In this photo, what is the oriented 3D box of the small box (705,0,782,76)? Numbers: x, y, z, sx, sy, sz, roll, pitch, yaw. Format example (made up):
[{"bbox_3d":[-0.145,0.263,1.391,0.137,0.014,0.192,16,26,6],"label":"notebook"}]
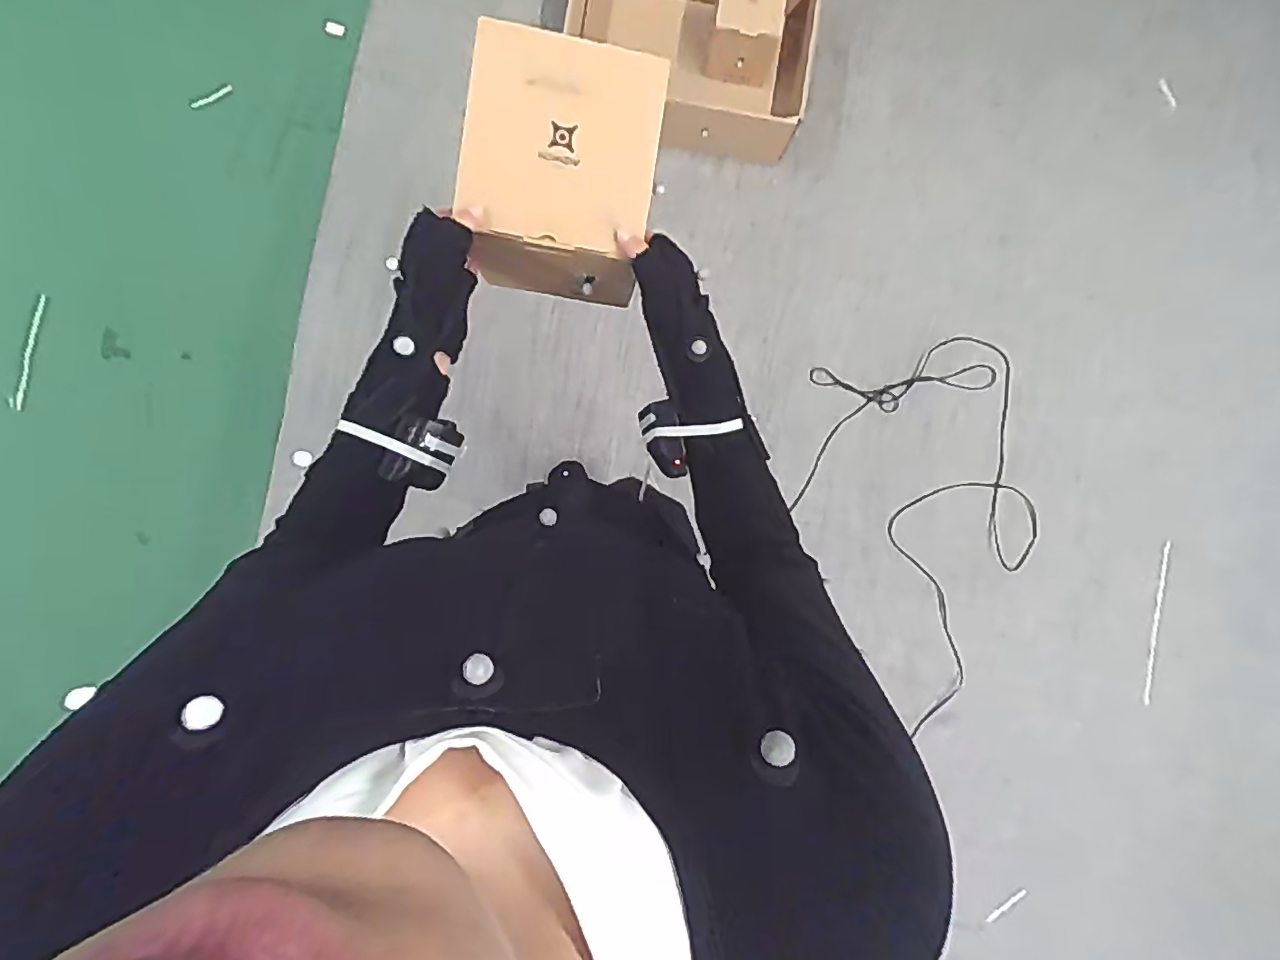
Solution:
[{"bbox_3d":[0.261,-1.179,1.379,0.168,0.176,0.179,5,89,-2],"label":"small box"}]

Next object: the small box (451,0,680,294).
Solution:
[{"bbox_3d":[-0.068,-0.297,0.521,0.168,0.176,0.179,9,92,-7],"label":"small box"}]
